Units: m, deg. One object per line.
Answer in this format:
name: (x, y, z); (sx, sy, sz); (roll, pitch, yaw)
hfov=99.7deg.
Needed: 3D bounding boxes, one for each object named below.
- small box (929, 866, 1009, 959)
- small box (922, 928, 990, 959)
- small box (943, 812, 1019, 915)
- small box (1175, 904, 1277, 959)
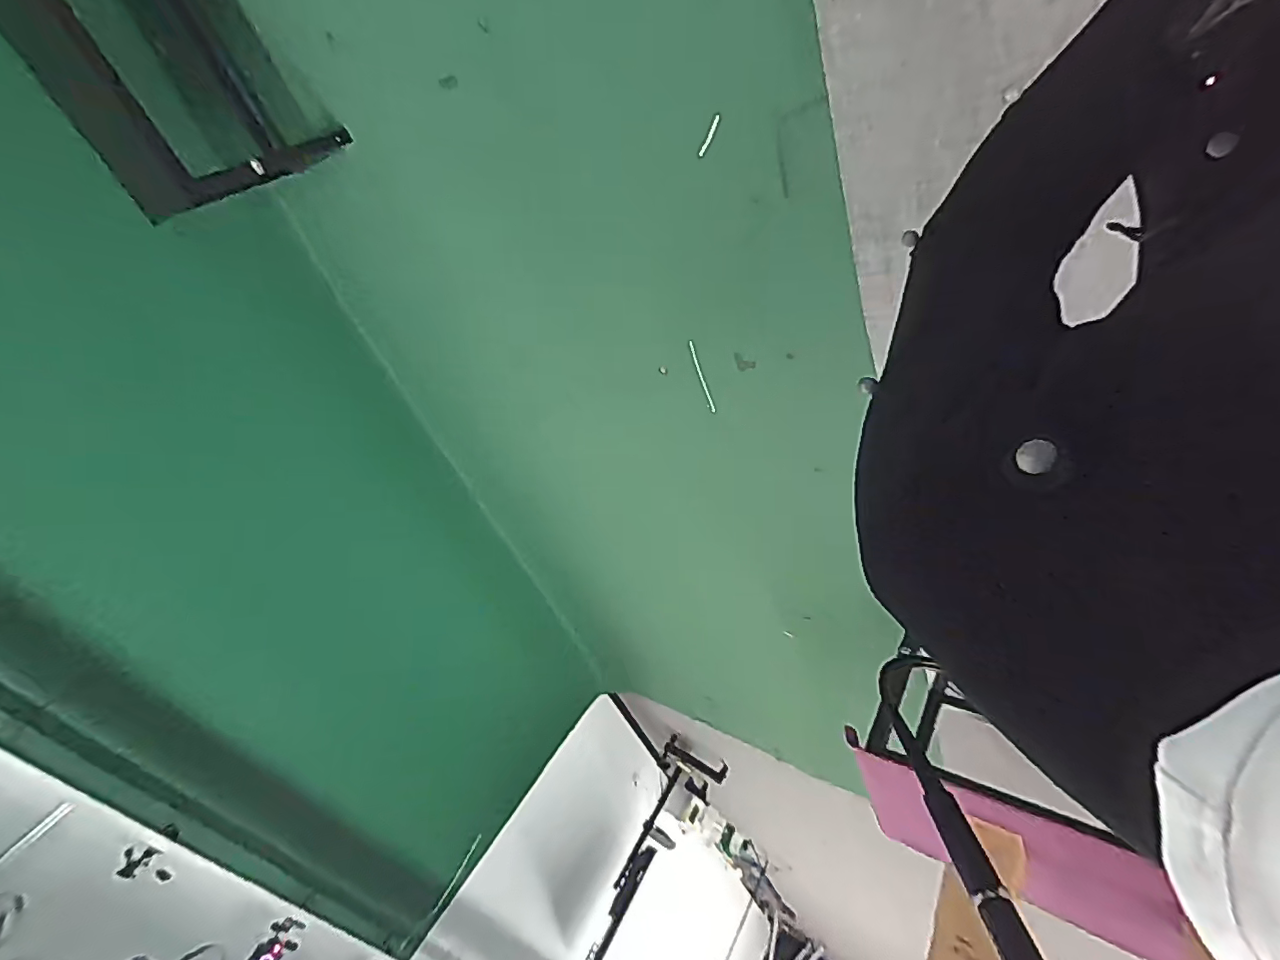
small box: (0.930, 1.237, 1.523); (0.168, 0.176, 0.179); (5, 135, 41)
small box: (0.847, 1.347, 1.435); (0.168, 0.176, 0.179); (5, 134, 40)
small box: (1.022, 1.138, 1.617); (0.168, 0.176, 0.179); (2, 132, 42)
small box: (1.394, 1.169, 1.287); (0.168, 0.176, 0.179); (-1, 128, 45)
